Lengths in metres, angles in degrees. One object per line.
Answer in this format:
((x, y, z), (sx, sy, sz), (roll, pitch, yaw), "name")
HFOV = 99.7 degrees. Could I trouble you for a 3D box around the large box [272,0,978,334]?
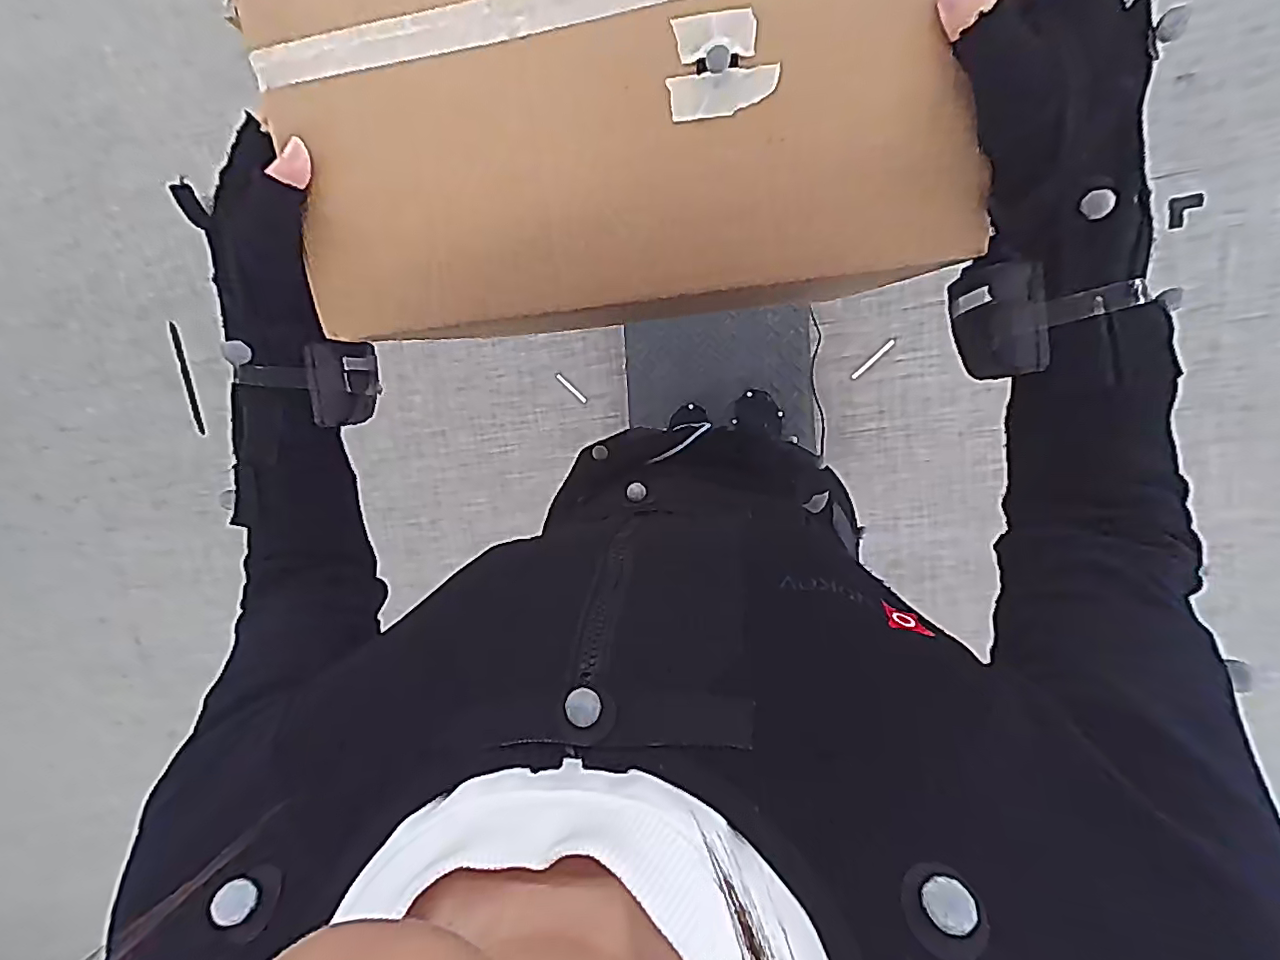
((-0.005, -0.304, 0.447), (0.408, 0.320, 0.320), (-5, 105, 9), "large box")
